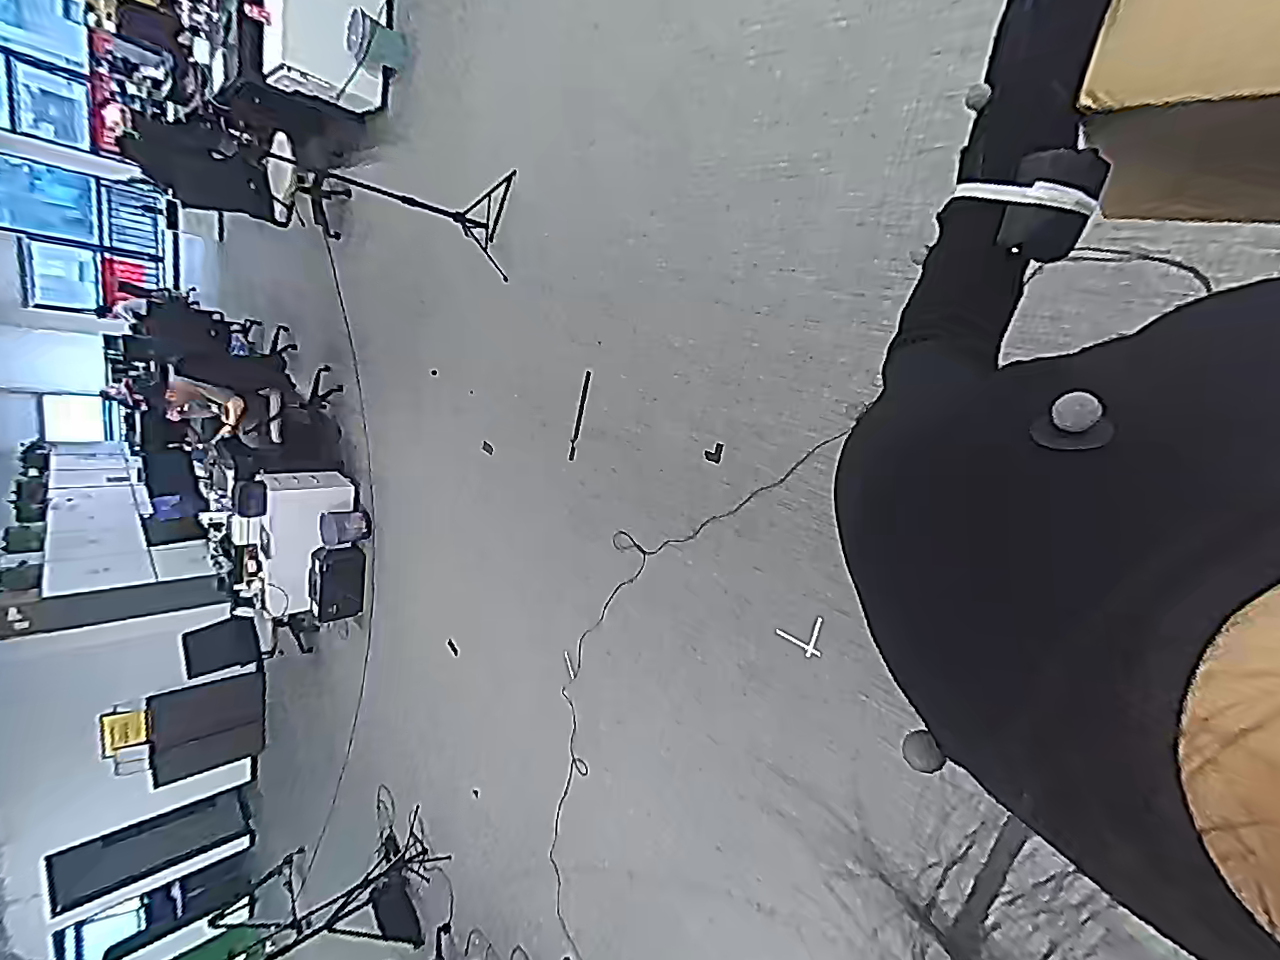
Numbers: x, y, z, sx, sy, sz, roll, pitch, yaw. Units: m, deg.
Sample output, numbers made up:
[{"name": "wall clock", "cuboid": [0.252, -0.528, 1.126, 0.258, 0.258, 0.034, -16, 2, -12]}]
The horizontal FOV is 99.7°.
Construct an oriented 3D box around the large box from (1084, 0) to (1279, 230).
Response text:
[{"name": "large box", "cuboid": [0.561, -0.341, 0.310, 0.408, 0.320, 0.320, 24, 113, 38]}]
